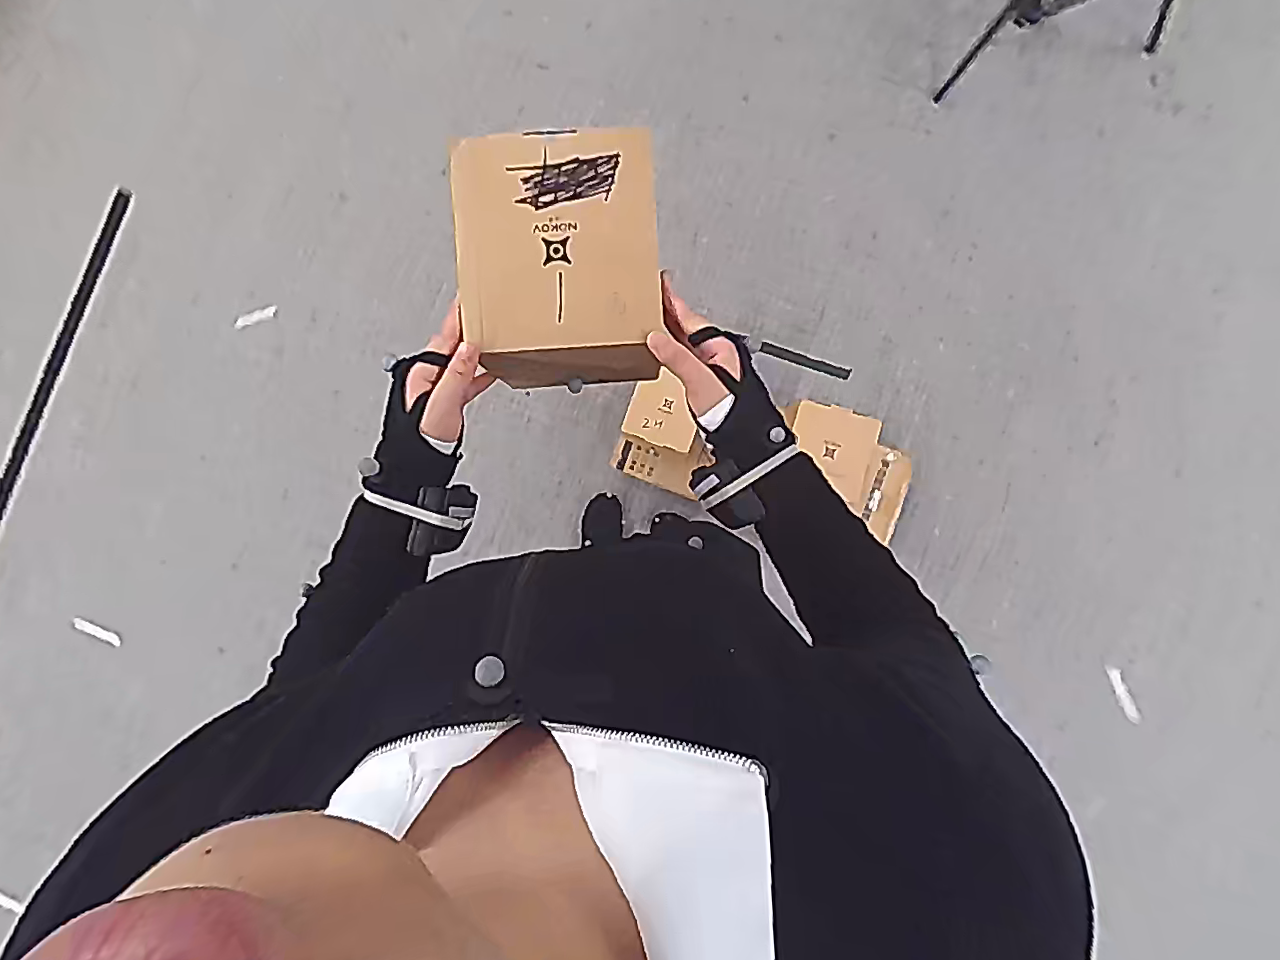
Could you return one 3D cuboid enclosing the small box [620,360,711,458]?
[{"bbox_3d":[0.058,-0.165,1.319,0.168,0.176,0.179,20,89,2],"label":"small box"}]

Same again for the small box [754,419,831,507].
[{"bbox_3d":[0.385,-0.043,1.306,0.168,0.176,0.179,19,89,1],"label":"small box"}]

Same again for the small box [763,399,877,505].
[{"bbox_3d":[0.371,-0.053,1.145,0.168,0.176,0.179,16,89,3],"label":"small box"}]
